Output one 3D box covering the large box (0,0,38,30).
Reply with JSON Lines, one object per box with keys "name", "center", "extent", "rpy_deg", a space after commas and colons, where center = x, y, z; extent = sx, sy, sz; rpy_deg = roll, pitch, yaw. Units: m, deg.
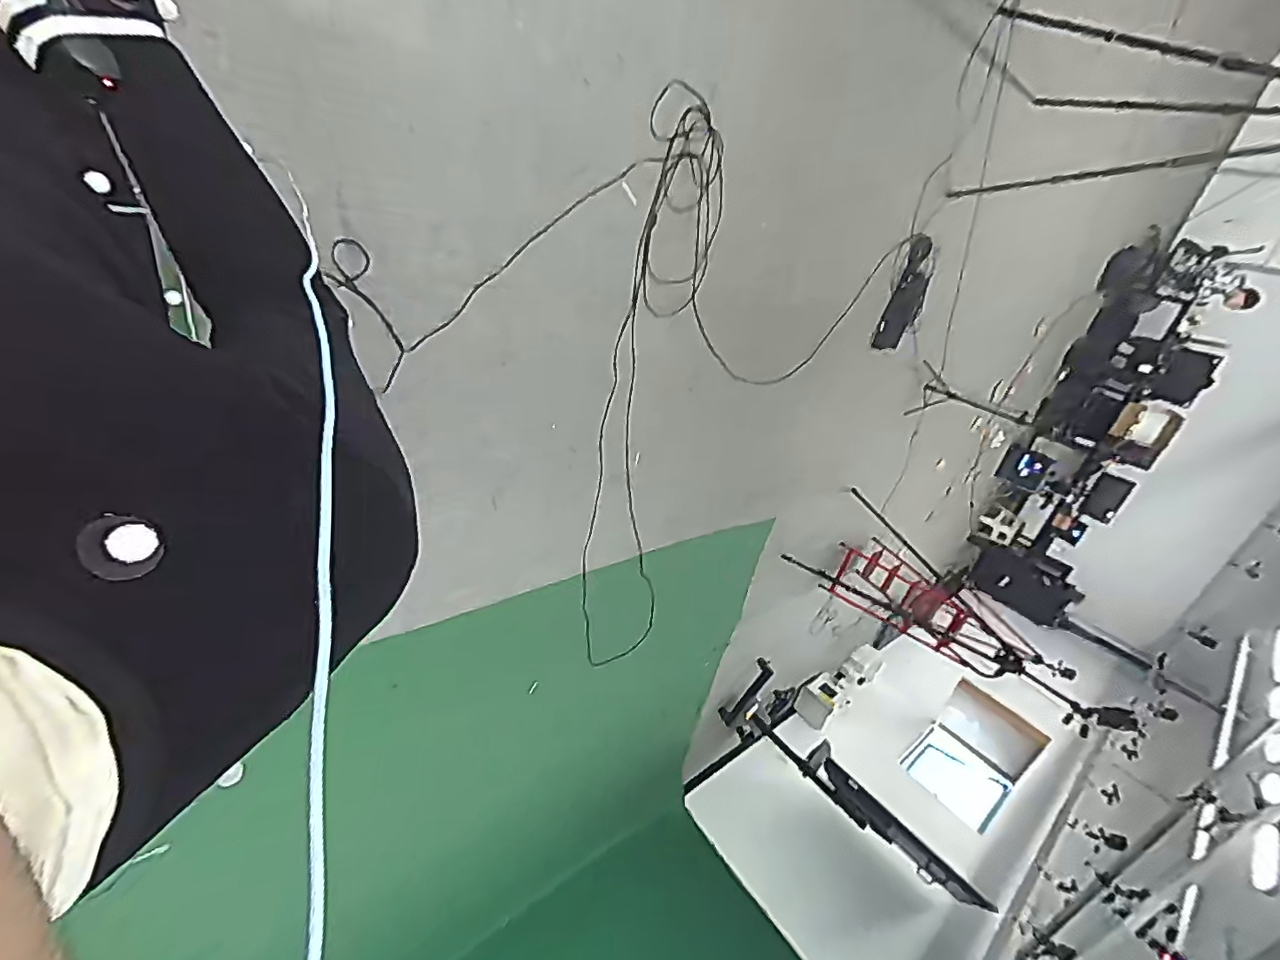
{"name": "large box", "center": [-0.656, -0.451, 0.266], "extent": [0.408, 0.320, 0.320], "rpy_deg": [-26, 134, -36]}
